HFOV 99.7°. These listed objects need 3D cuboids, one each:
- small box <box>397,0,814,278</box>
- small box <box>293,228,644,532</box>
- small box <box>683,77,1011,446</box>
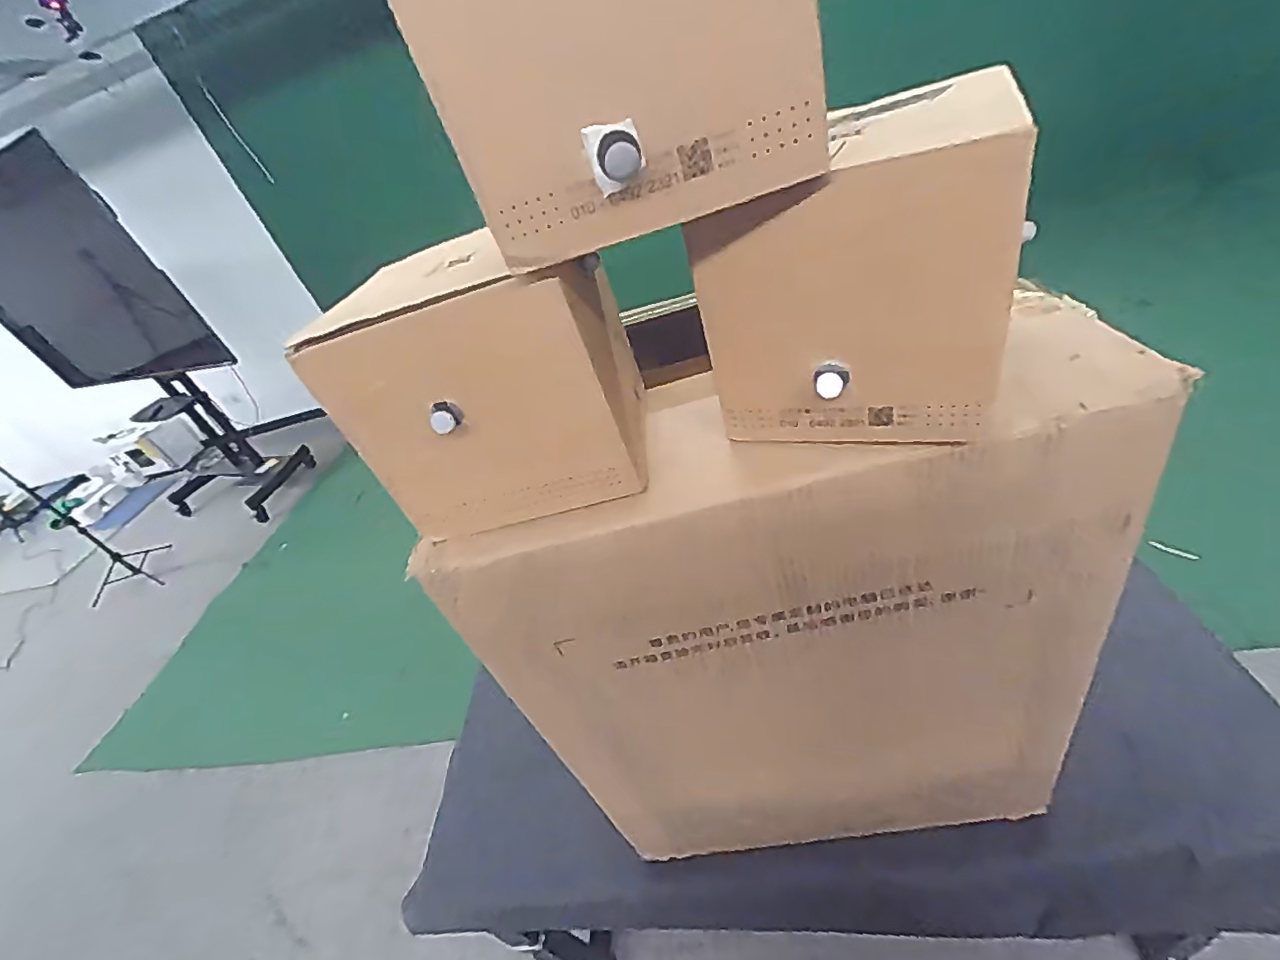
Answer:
[{"bbox_3d":[-0.017,-0.234,0.294,0.168,0.176,0.179,-16,38,8],"label":"small box"},{"bbox_3d":[-0.105,-0.082,0.420,0.179,0.176,0.168,-15,38,11],"label":"small box"},{"bbox_3d":[0.143,-0.143,0.374,0.168,0.176,0.179,2,43,28],"label":"small box"}]
